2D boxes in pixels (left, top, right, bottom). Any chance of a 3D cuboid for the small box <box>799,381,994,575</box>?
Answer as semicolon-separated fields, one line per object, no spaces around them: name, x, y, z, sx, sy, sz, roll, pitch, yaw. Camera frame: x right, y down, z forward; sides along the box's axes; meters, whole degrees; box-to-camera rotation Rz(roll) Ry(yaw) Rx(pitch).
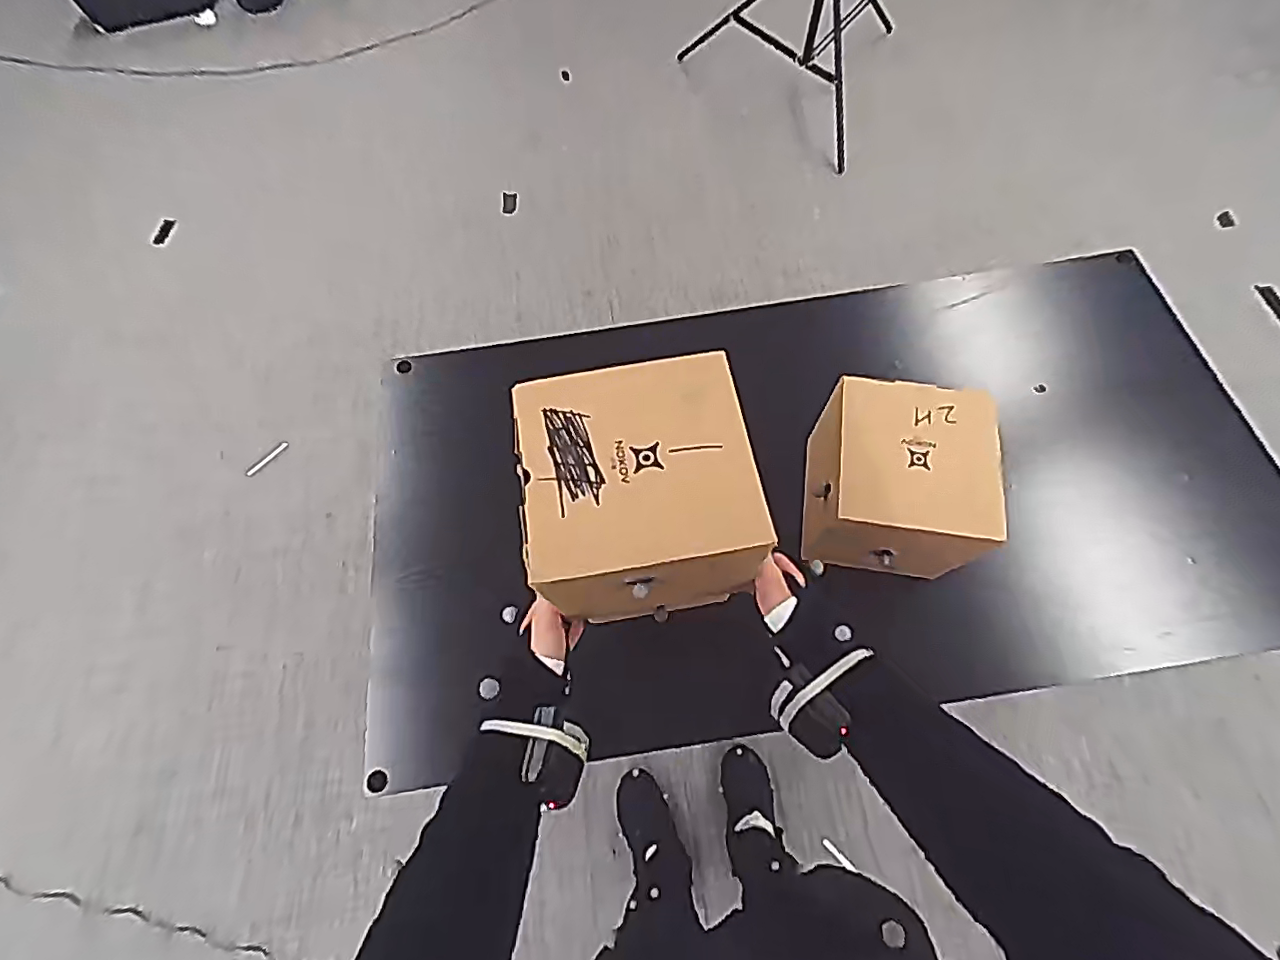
small box;0.295;0.007;0.656;0.168;0.176;0.179;8;67;6

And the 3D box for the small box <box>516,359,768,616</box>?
small box;-0.001;0.019;0.487;0.179;0.176;0.168;-9;67;-2
